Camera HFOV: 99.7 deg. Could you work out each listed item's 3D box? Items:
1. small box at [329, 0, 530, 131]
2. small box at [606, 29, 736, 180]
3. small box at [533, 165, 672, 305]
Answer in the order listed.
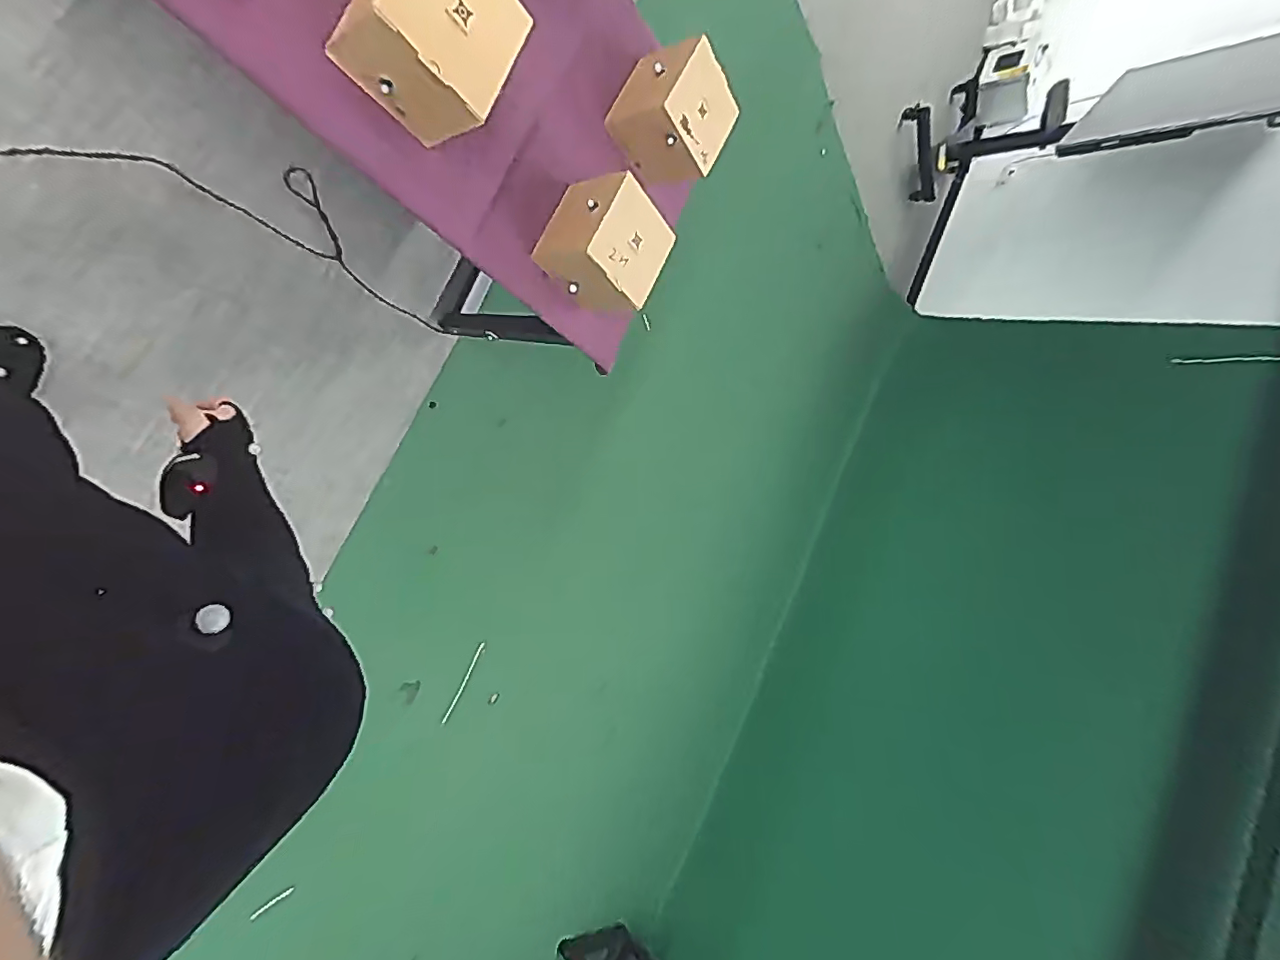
[{"bbox_3d":[-0.290,-0.624,0.740,0.168,0.176,0.179,31,80,-49],"label":"small box"},{"bbox_3d":[0.060,-0.742,1.087,0.168,0.176,0.179,37,75,-47],"label":"small box"},{"bbox_3d":[-0.073,-0.458,1.034,0.168,0.176,0.179,36,76,-47],"label":"small box"}]
